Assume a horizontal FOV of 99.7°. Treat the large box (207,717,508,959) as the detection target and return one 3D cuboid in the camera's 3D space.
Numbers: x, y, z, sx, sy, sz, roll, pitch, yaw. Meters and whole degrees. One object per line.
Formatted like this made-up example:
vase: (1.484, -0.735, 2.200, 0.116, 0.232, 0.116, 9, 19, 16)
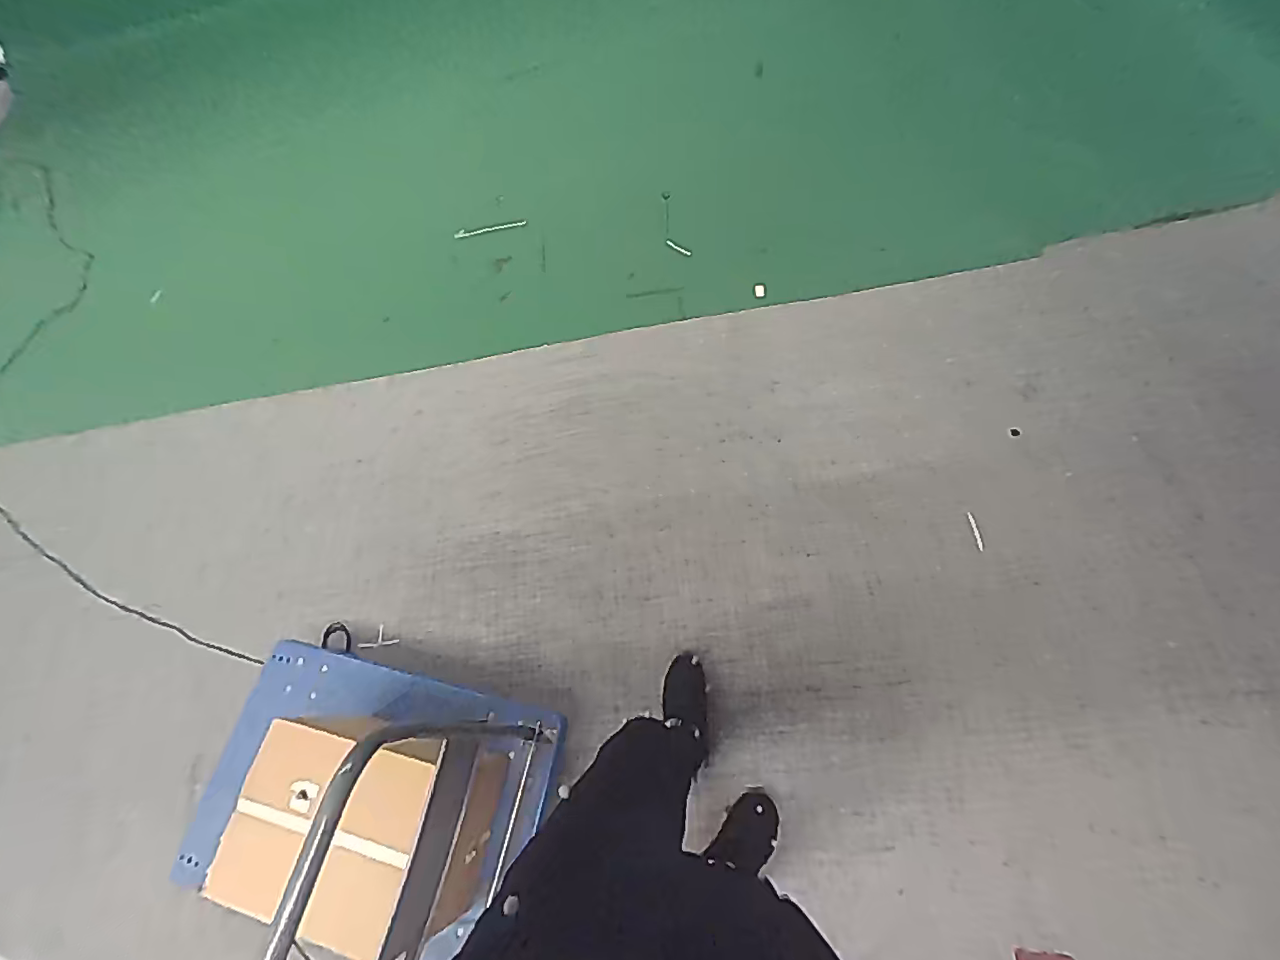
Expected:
large box: (-0.551, 0.706, 1.134, 0.408, 0.320, 0.320, 8, 68, 15)
